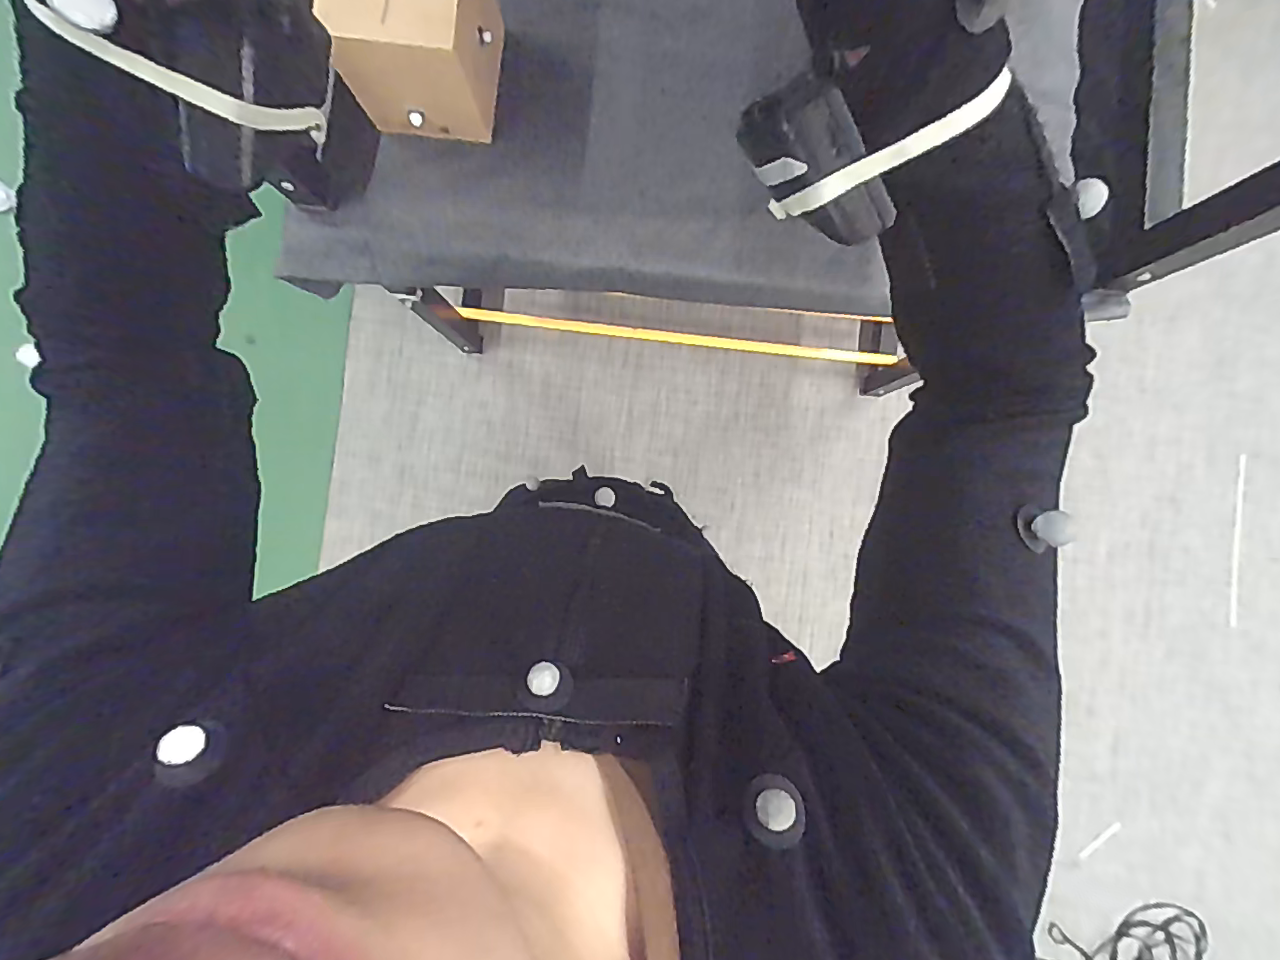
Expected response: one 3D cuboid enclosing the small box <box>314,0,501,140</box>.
[{"bbox_3d":[-0.284,-0.586,0.700,0.168,0.176,0.179,6,89,-1],"label":"small box"}]
